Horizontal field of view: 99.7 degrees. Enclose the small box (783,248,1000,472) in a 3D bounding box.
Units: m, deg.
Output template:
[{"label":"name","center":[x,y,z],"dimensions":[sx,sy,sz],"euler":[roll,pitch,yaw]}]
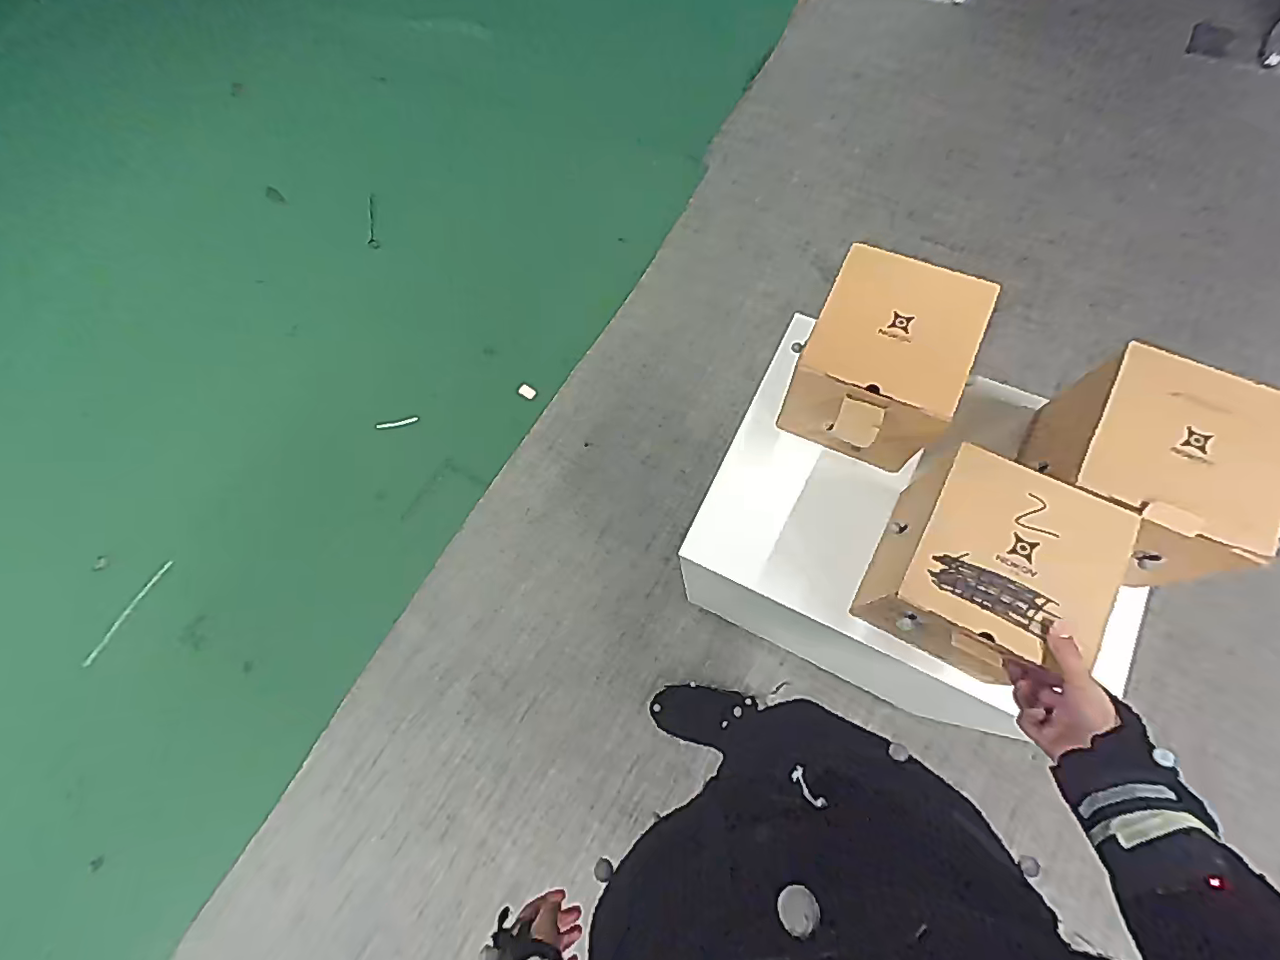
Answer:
[{"label":"small box","center":[0.288,-0.135,0.656],"dimensions":[0.168,0.176,0.179],"euler":[24,77,13]}]
